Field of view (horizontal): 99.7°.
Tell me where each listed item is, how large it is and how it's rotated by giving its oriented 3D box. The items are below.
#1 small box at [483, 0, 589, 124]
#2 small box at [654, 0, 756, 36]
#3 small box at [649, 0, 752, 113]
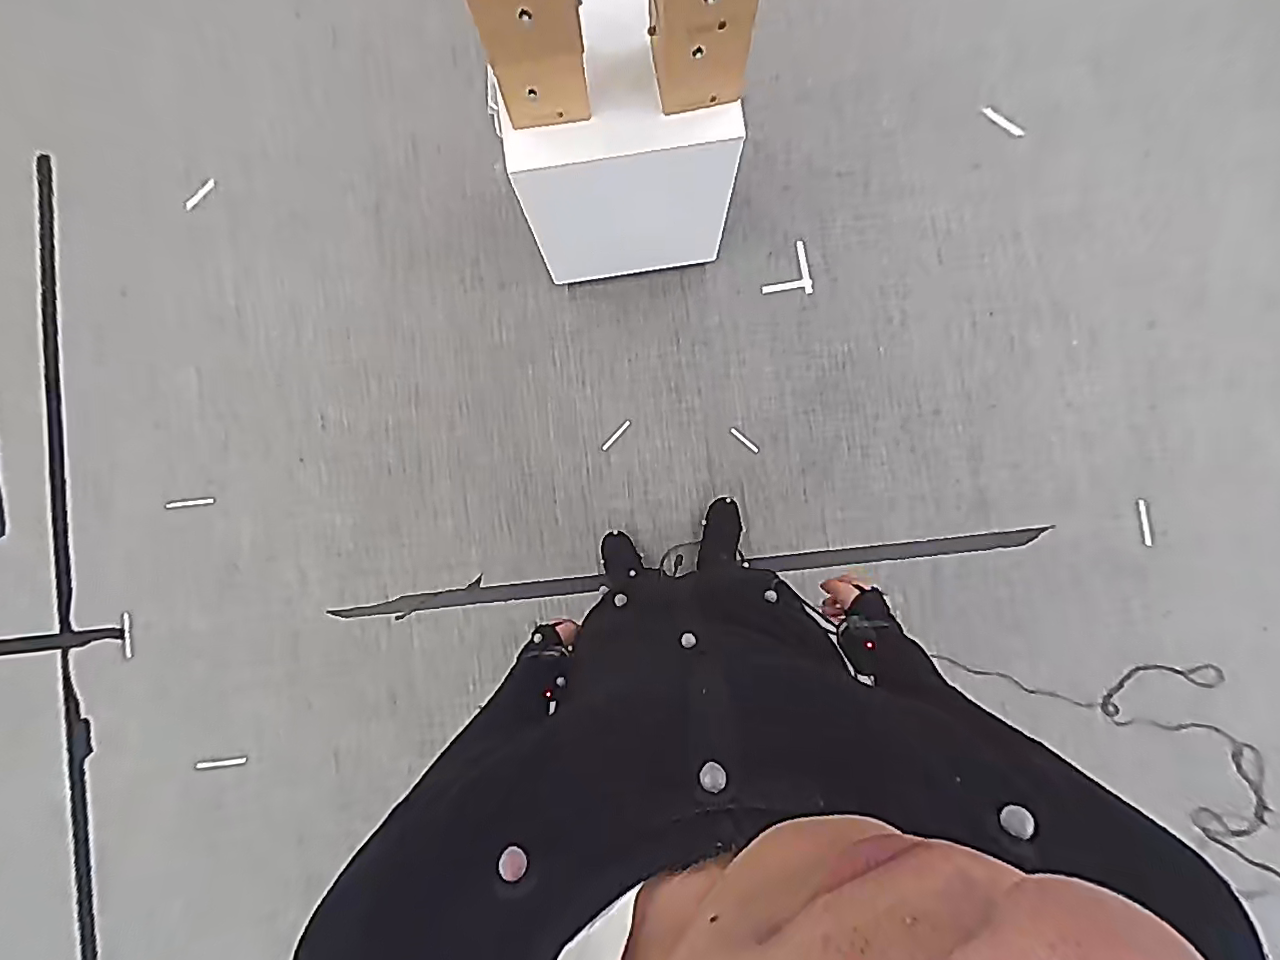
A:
[{"bbox_3d":[-0.197,-0.833,1.058,0.168,0.176,0.179,-7,86,1],"label":"small box"},{"bbox_3d":[0.104,-0.875,0.884,0.168,0.176,0.179,-9,86,2],"label":"small box"},{"bbox_3d":[0.110,-0.864,1.049,0.168,0.176,0.179,-10,86,2],"label":"small box"}]
